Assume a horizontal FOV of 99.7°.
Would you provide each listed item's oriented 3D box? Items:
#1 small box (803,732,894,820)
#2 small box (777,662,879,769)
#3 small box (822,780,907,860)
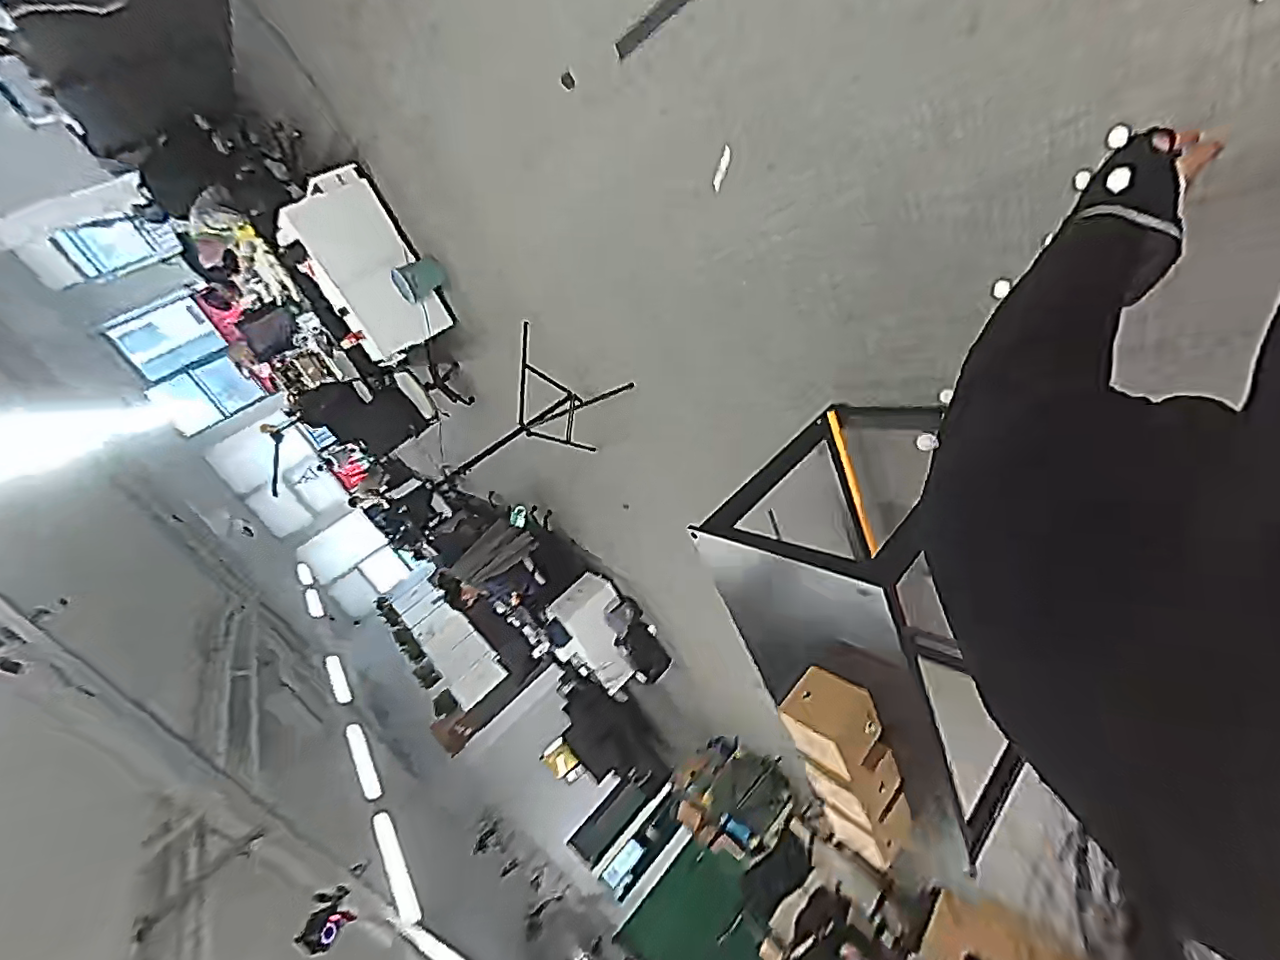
[{"bbox_3d":[0.604,0.813,1.551,0.179,0.176,0.168,13,135,53],"label":"small box"},{"bbox_3d":[0.506,0.620,1.450,0.179,0.176,0.168,11,136,54],"label":"small box"},{"bbox_3d":[0.694,0.999,1.658,0.168,0.176,0.179,13,136,53],"label":"small box"}]
